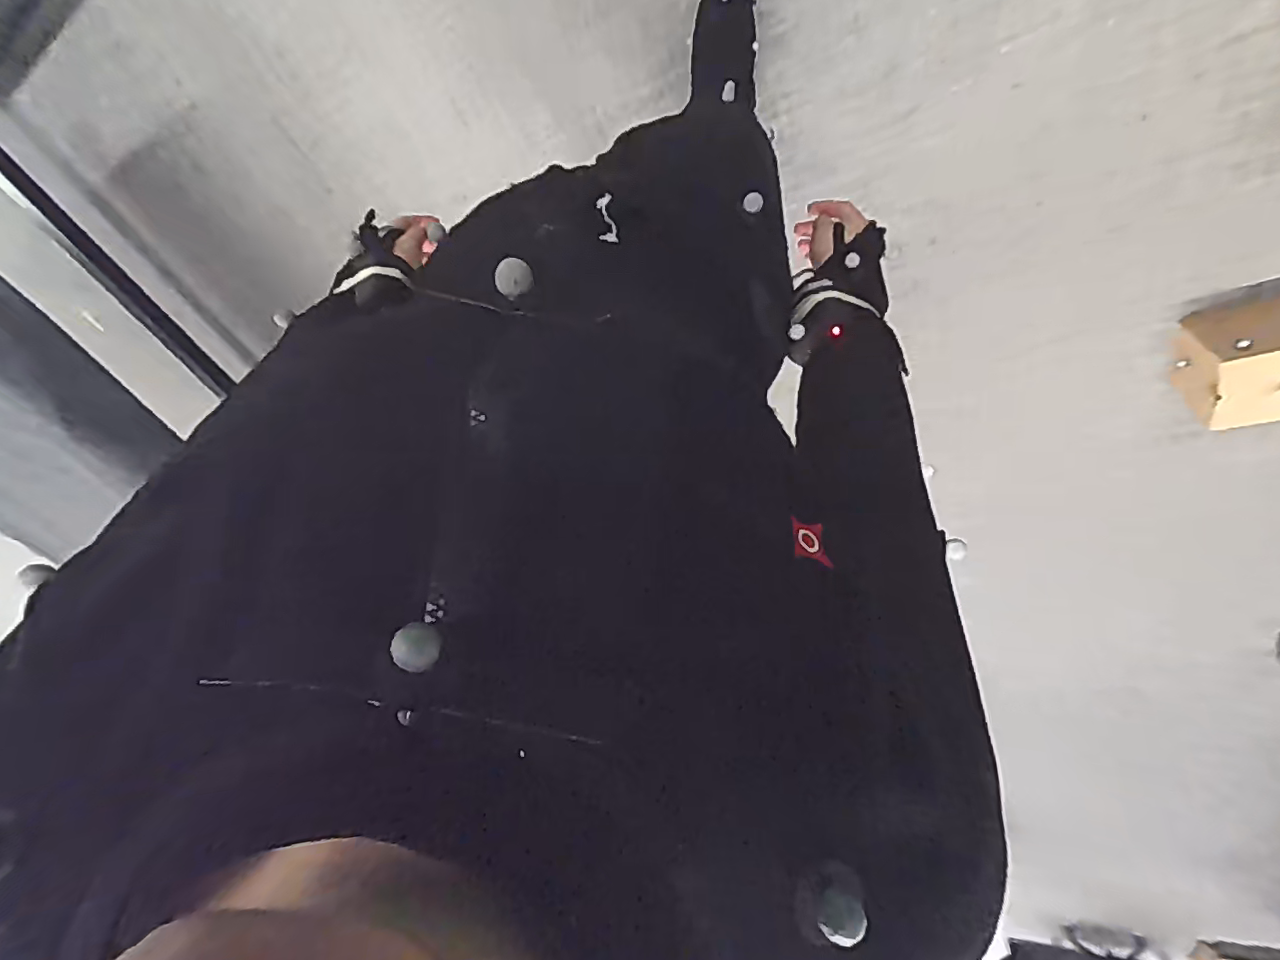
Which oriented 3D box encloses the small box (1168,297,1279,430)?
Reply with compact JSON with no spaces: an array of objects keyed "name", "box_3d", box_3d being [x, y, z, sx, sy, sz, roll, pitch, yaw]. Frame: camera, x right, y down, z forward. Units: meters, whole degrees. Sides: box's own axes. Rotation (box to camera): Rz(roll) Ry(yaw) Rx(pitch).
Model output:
[{"name":"small box","box_3d":[1.162,-0.225,1.025,0.179,0.176,0.168,-12,128,27]}]
